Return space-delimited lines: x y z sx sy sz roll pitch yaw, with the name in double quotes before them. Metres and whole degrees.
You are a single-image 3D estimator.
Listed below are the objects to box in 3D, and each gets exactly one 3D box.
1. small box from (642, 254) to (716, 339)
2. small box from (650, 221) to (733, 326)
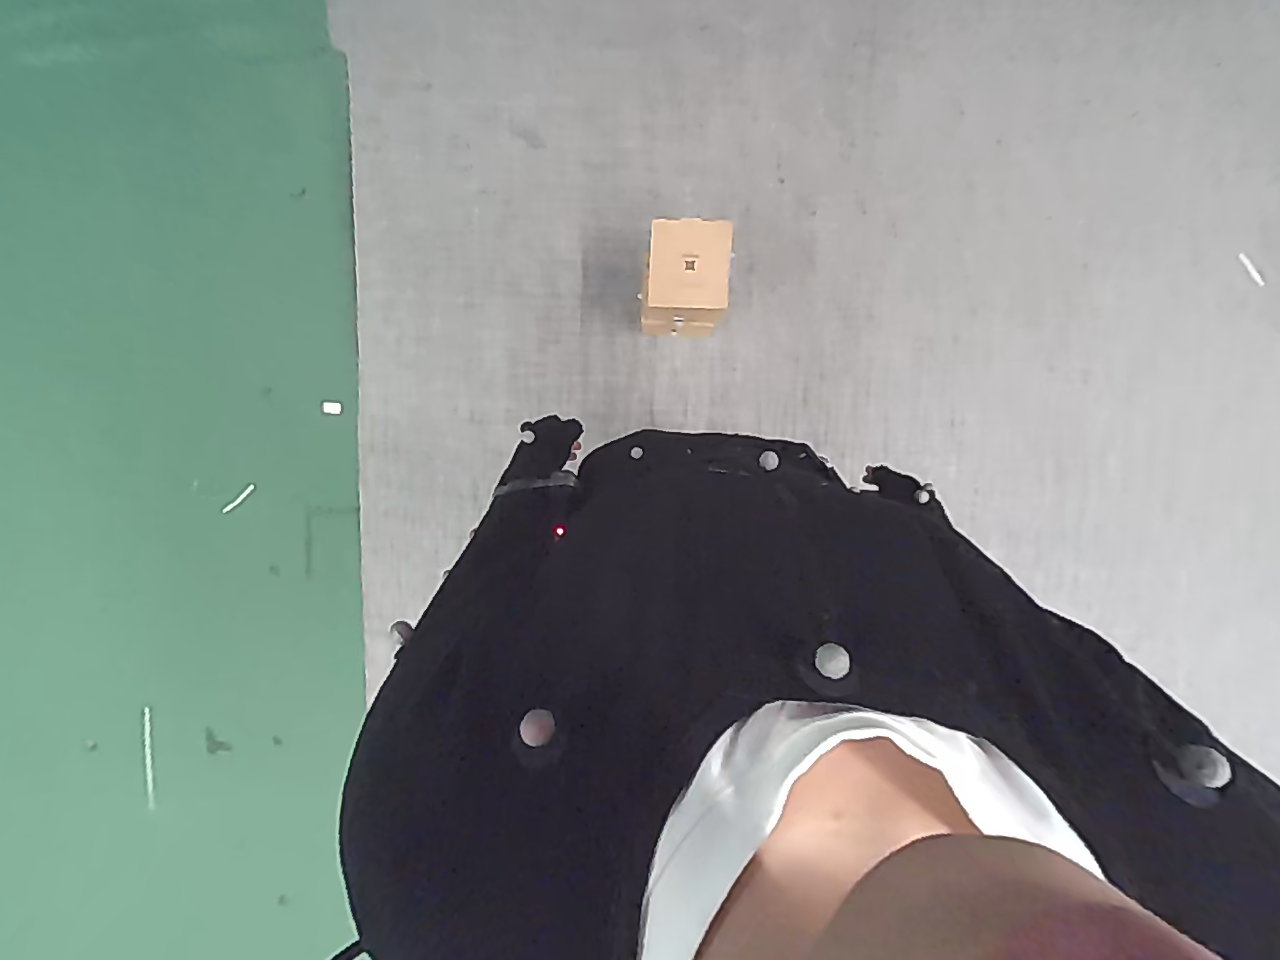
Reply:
"small box" 0.099 -0.449 1.343 0.179 0.176 0.168 3 95 3
"small box" 0.108 -0.443 1.181 0.168 0.176 0.179 2 96 3
